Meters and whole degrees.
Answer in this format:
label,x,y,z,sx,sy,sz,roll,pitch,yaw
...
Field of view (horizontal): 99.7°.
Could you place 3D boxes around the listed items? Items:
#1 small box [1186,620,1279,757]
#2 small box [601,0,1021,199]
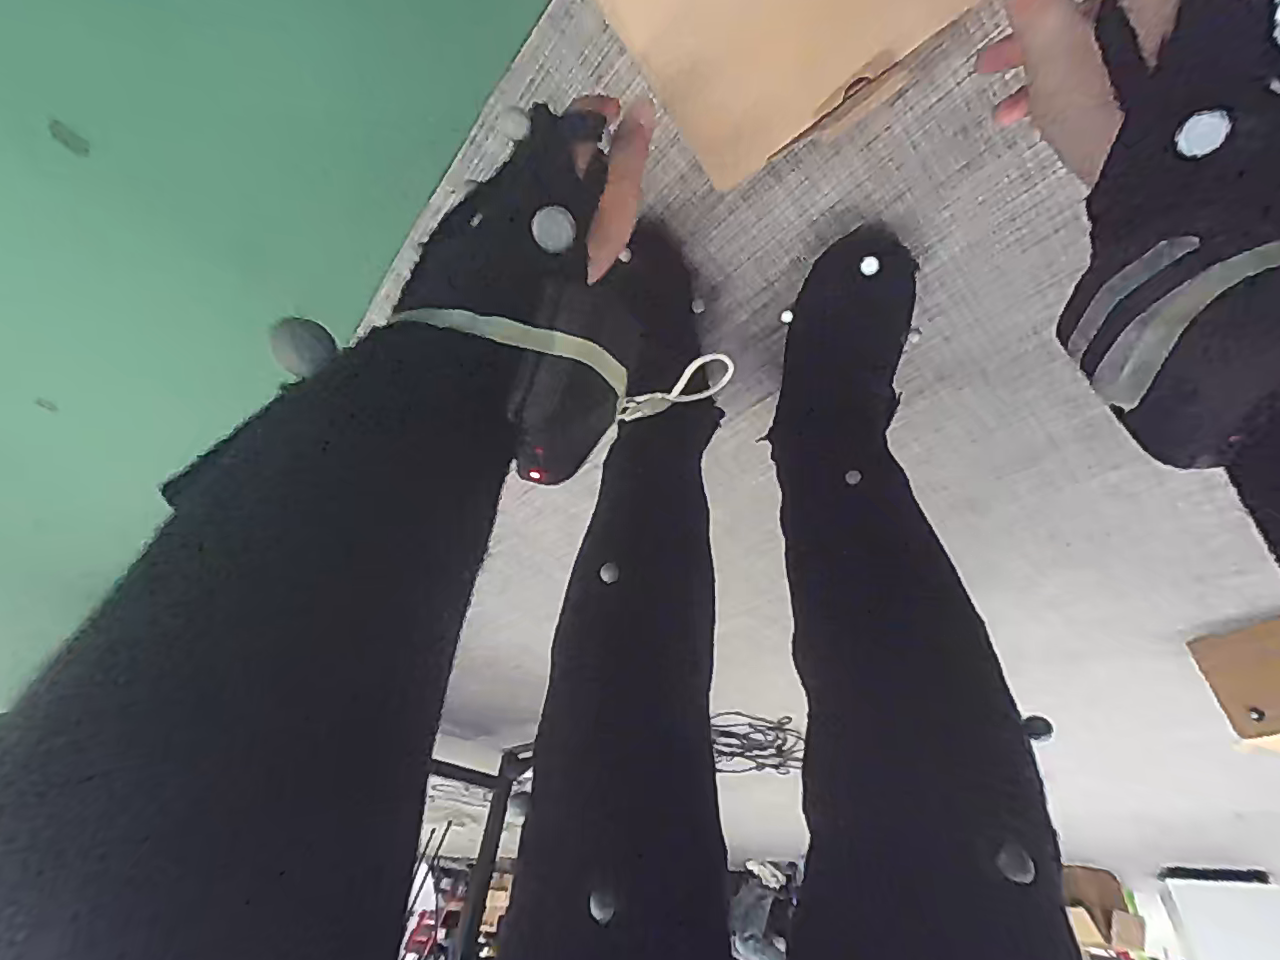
label,x,y,z,sx,sy,sz,roll,pitch,yaw
small box,1.076,0.341,0.883,0.168,0.176,0.179,20,140,-14
small box,0.069,-0.298,0.278,0.168,0.176,0.179,-25,130,31
